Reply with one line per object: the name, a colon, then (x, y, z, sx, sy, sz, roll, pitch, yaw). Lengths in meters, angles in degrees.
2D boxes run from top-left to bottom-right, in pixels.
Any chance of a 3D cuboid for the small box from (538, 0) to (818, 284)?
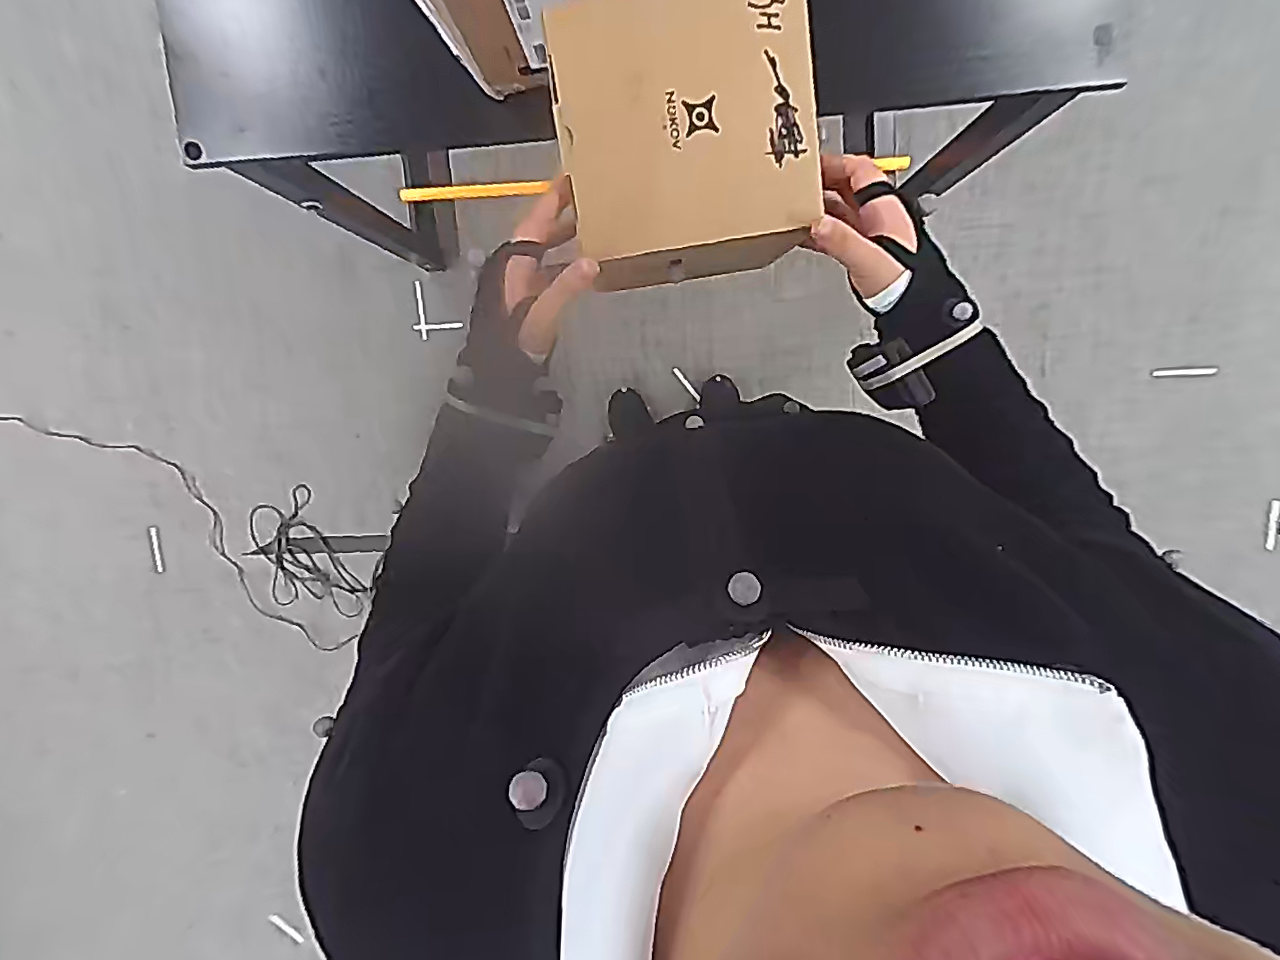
small box: (0.030, -0.268, 0.445, 0.179, 0.176, 0.168, -8, 101, 1)
